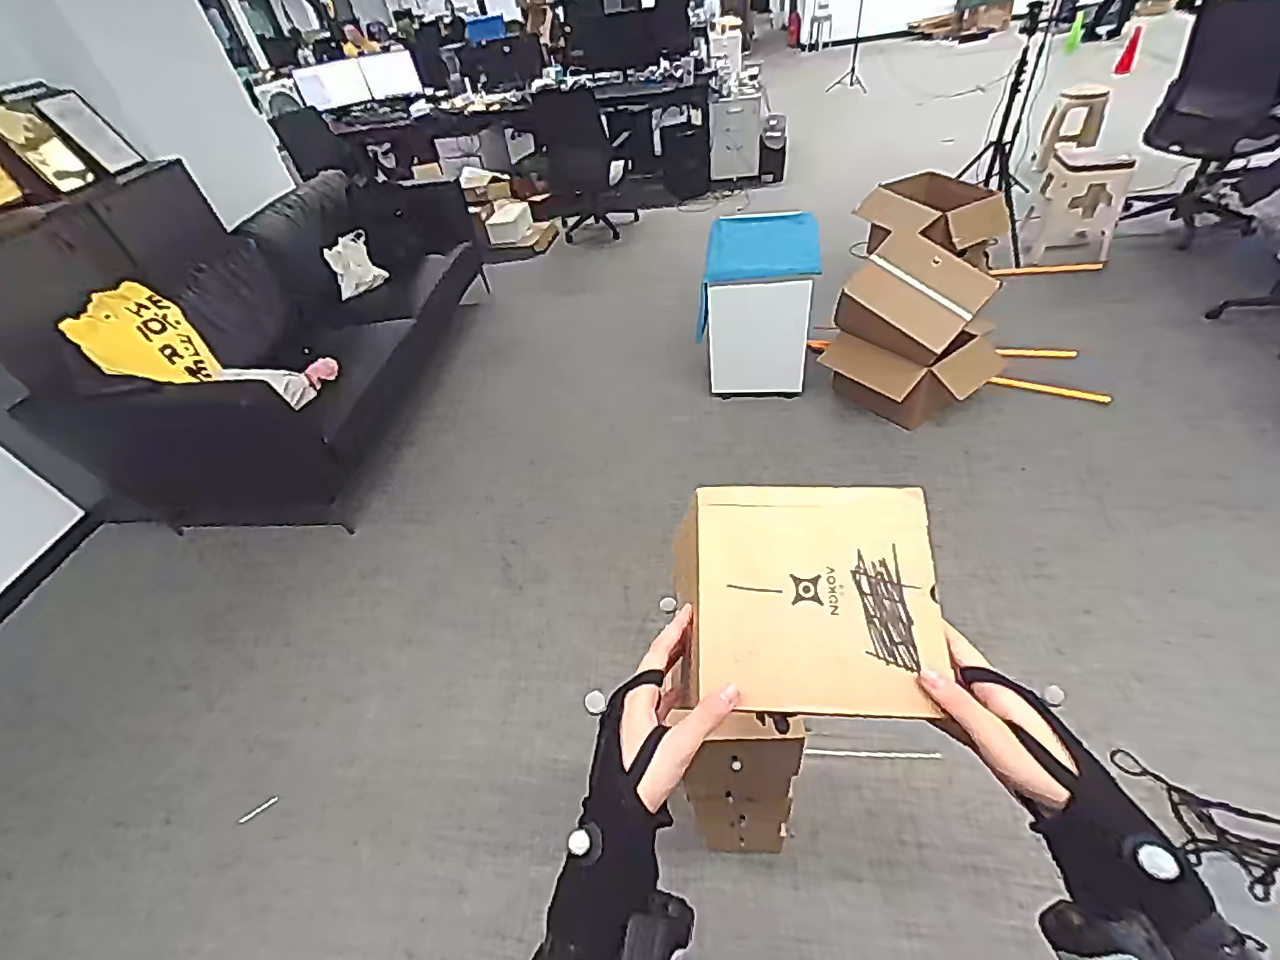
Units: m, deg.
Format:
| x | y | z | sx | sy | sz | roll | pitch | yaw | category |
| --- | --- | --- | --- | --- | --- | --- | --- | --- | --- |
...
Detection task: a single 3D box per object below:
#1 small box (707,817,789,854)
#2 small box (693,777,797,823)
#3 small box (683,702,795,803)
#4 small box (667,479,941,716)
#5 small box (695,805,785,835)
| x | y | z | sx | sy | sz | roll | pitch | yaw | category |
| --- | --- | --- | --- | --- | --- | --- | --- | --- | --- |
| 0.246 | 0.752 | 1.256 | 0.179 | 0.176 | 0.168 | -3 | 45 | 9 | small box |
| 0.191 | 0.531 | 1.020 | 0.179 | 0.176 | 0.168 | -4 | 45 | 8 | small box |
| 0.160 | 0.420 | 0.906 | 0.168 | 0.176 | 0.179 | -5 | 46 | 8 | small box |
| 0.121 | 0.110 | 0.471 | 0.179 | 0.176 | 0.168 | 3 | 67 | -1 | small box |
| 0.212 | 0.636 | 1.144 | 0.179 | 0.176 | 0.168 | -3 | 46 | 9 | small box |
